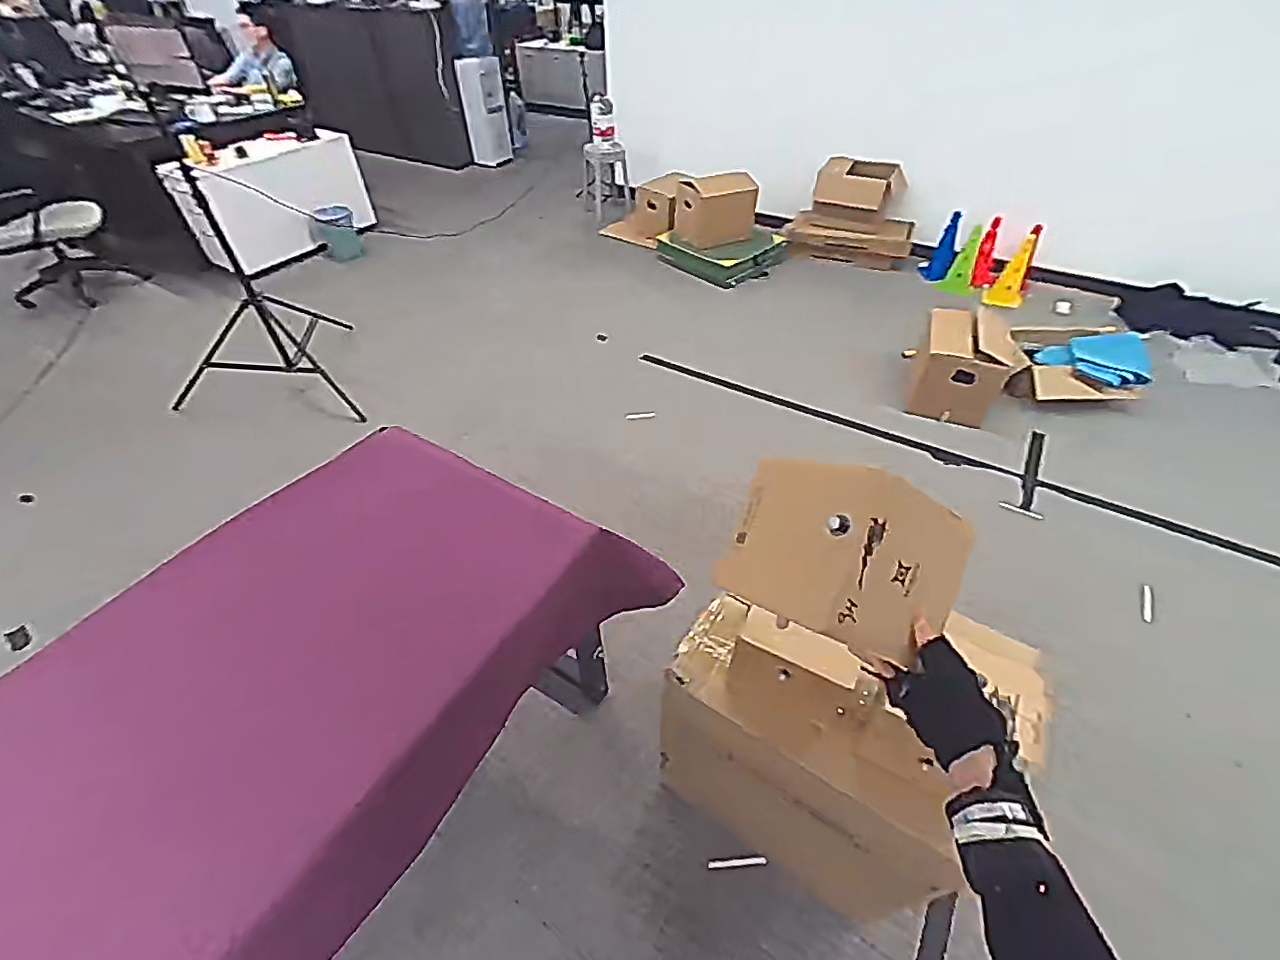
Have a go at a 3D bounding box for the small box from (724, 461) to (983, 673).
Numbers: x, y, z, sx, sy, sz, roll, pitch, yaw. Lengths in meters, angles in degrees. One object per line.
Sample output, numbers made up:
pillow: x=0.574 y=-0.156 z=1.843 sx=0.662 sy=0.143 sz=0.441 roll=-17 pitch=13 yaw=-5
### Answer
small box: x=0.228 y=0.085 z=0.599 sx=0.176 sy=0.179 sz=0.168 roll=12 pitch=77 yaw=63

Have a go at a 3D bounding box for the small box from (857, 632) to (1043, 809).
small box: x=0.444 y=0.347 z=0.793 sx=0.179 sy=0.176 sz=0.168 roll=23 pitch=50 yaw=25

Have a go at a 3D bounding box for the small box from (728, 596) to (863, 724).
small box: x=0.256 y=0.265 z=0.882 sx=0.179 sy=0.176 sz=0.168 roll=21 pitch=51 yaw=19
